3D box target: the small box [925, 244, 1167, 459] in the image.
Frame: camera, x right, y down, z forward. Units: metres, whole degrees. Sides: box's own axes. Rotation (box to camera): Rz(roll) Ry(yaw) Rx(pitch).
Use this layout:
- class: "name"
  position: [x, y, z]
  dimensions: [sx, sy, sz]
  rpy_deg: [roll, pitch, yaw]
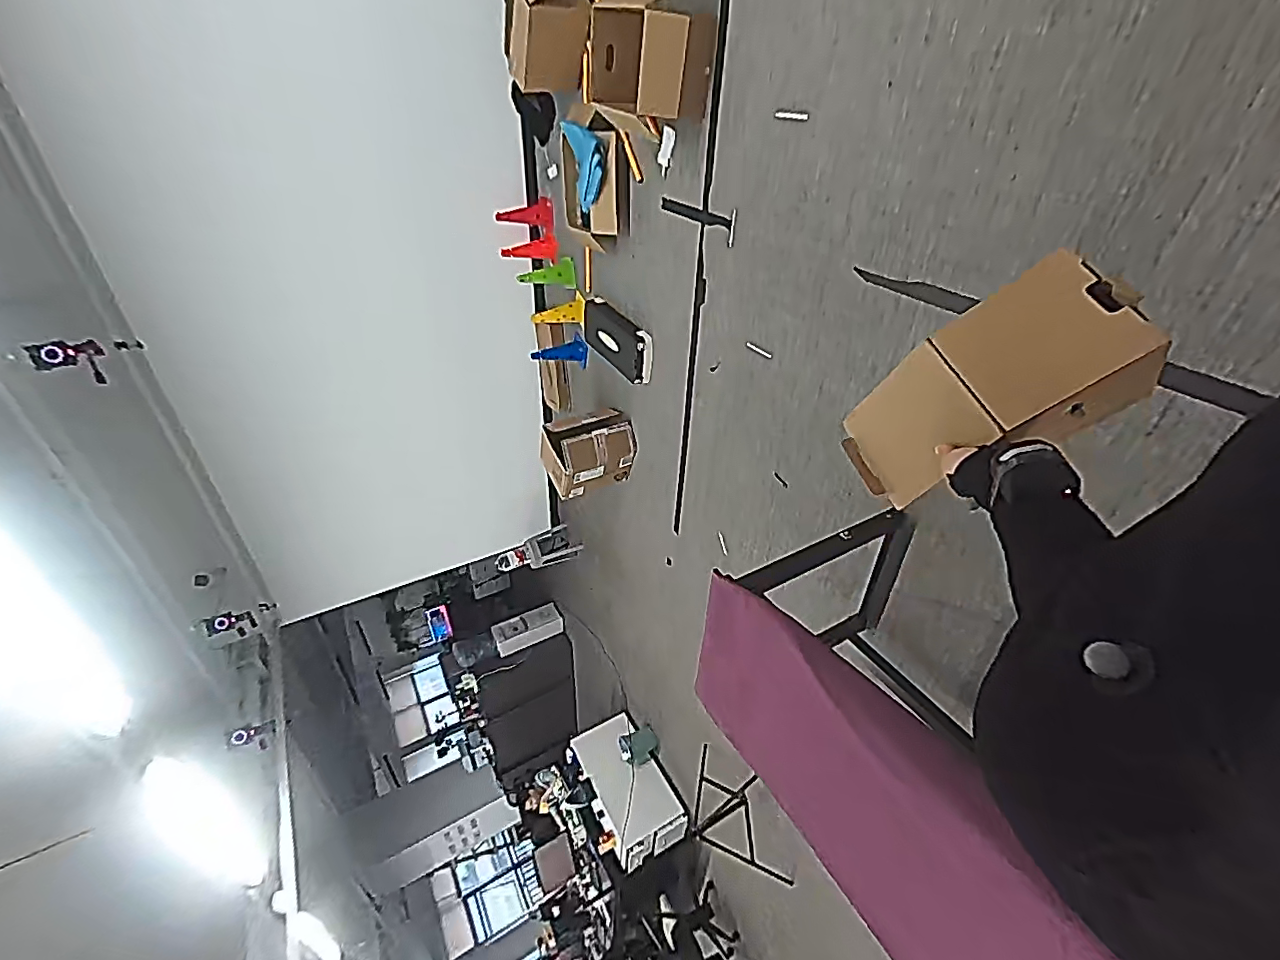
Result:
- class: "small box"
  position: [0.505, -0.149, 0.691]
  dimensions: [0.179, 0.176, 0.168]
  rpy_deg: [-35, 60, 25]
